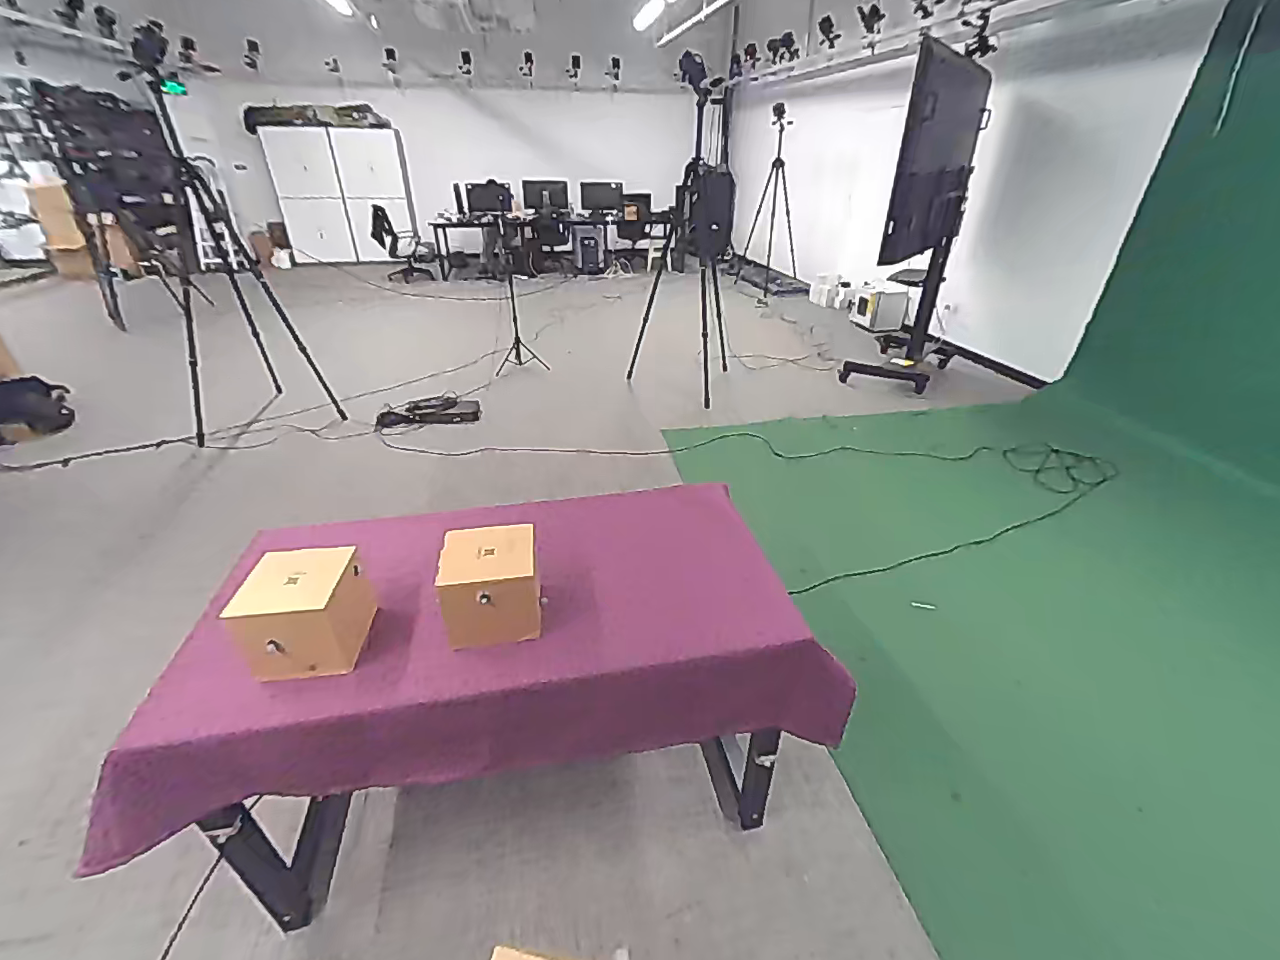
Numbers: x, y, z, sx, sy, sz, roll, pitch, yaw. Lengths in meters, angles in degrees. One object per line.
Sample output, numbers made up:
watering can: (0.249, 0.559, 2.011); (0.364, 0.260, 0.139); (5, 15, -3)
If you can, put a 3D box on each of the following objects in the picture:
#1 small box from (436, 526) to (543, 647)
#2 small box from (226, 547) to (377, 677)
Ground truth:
small box: (-0.288, 0.211, 1.074); (0.179, 0.176, 0.168); (-4, 31, -8)
small box: (-0.615, 0.249, 1.012); (0.168, 0.176, 0.179); (-4, 30, -6)
